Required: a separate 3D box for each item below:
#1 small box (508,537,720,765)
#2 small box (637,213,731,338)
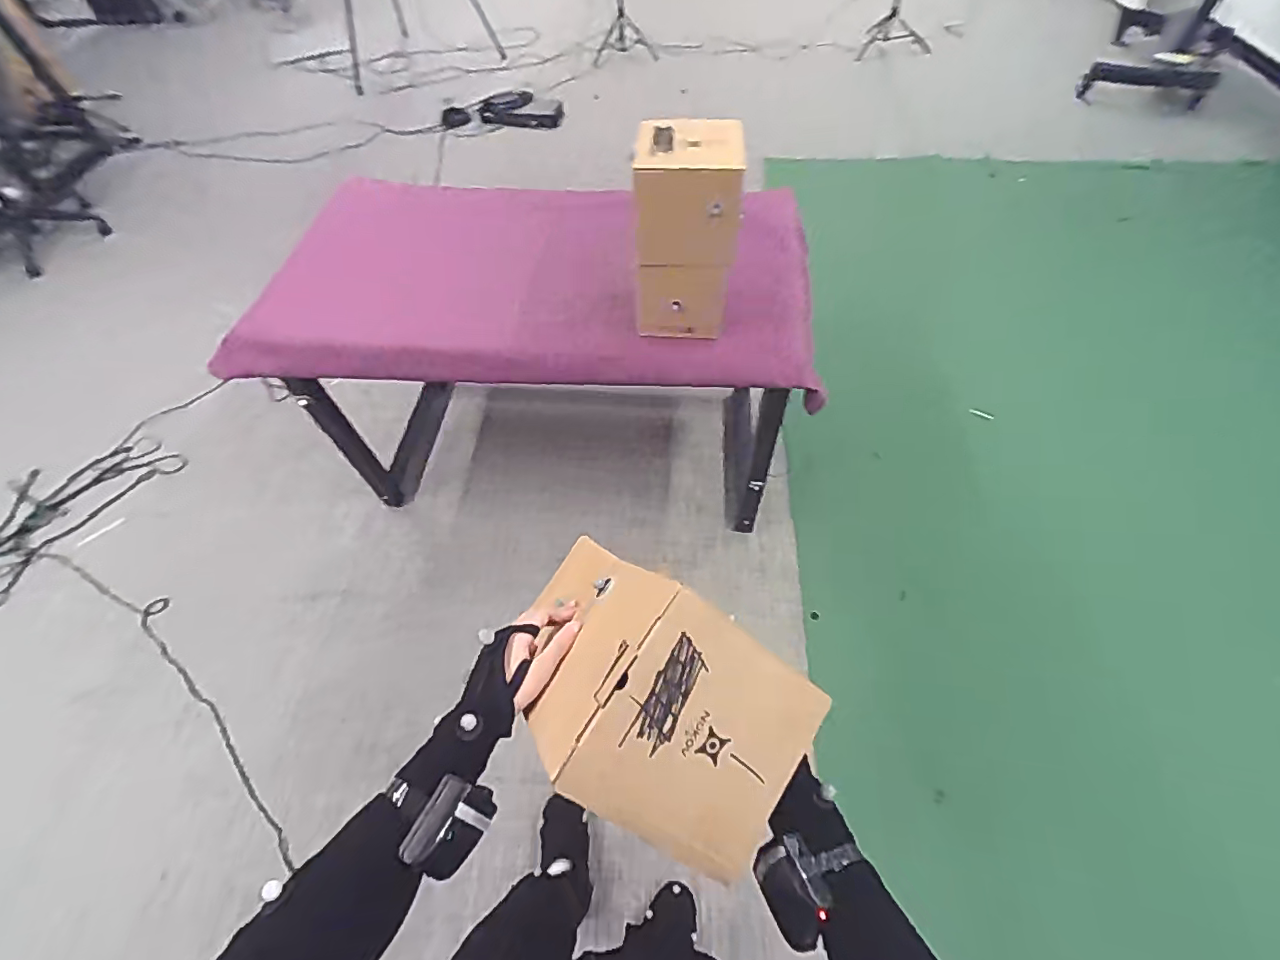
[{"bbox_3d":[-0.042,0.187,0.643,0.168,0.176,0.179,37,79,-15],"label":"small box"},{"bbox_3d":[0.090,-0.404,1.076,0.168,0.176,0.179,5,56,6],"label":"small box"}]
